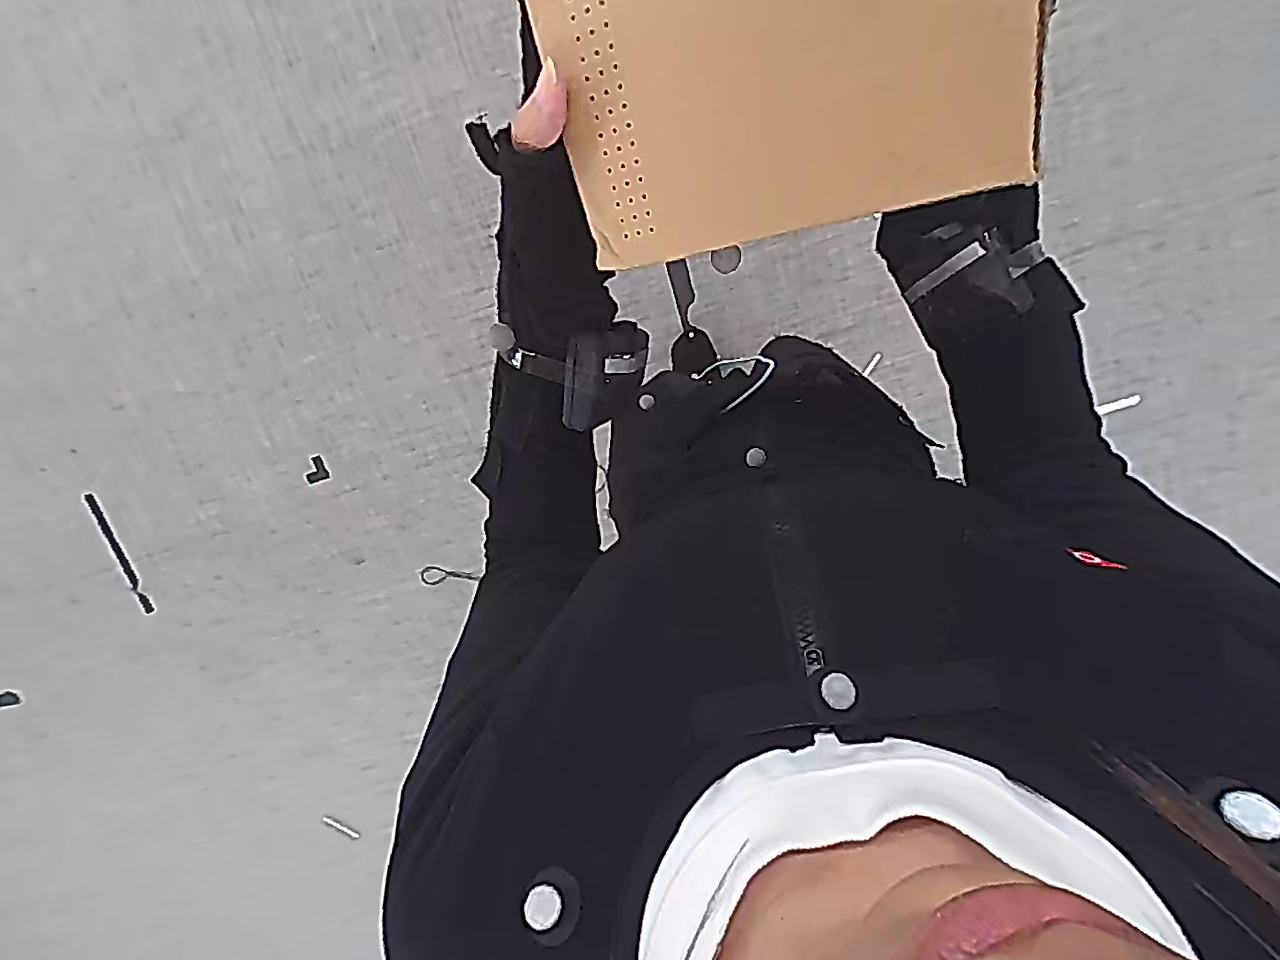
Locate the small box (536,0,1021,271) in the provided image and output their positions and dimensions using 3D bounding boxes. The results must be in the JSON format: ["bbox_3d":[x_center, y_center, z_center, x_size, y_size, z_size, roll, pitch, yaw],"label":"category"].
[{"bbox_3d":[0.061,-0.213,0.246,0.176,0.168,0.179,0,119,29],"label":"small box"}]
